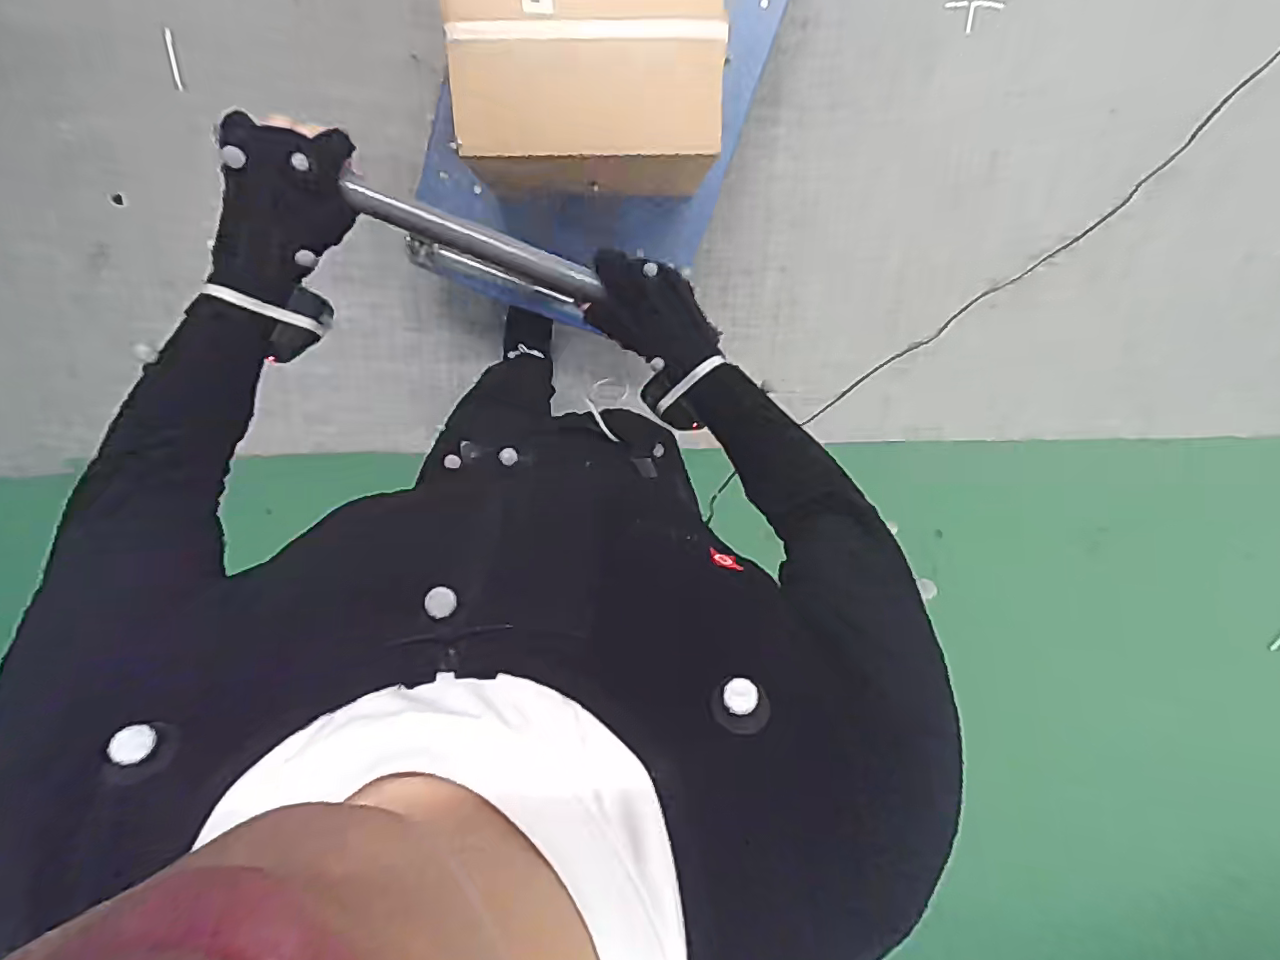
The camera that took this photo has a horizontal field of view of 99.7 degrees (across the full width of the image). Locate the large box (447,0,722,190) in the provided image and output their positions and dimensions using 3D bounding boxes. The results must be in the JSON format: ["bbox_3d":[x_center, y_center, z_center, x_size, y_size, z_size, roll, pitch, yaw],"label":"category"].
[{"bbox_3d":[-0.080,-0.699,0.929,0.408,0.320,0.320,-2,107,-1],"label":"large box"}]
